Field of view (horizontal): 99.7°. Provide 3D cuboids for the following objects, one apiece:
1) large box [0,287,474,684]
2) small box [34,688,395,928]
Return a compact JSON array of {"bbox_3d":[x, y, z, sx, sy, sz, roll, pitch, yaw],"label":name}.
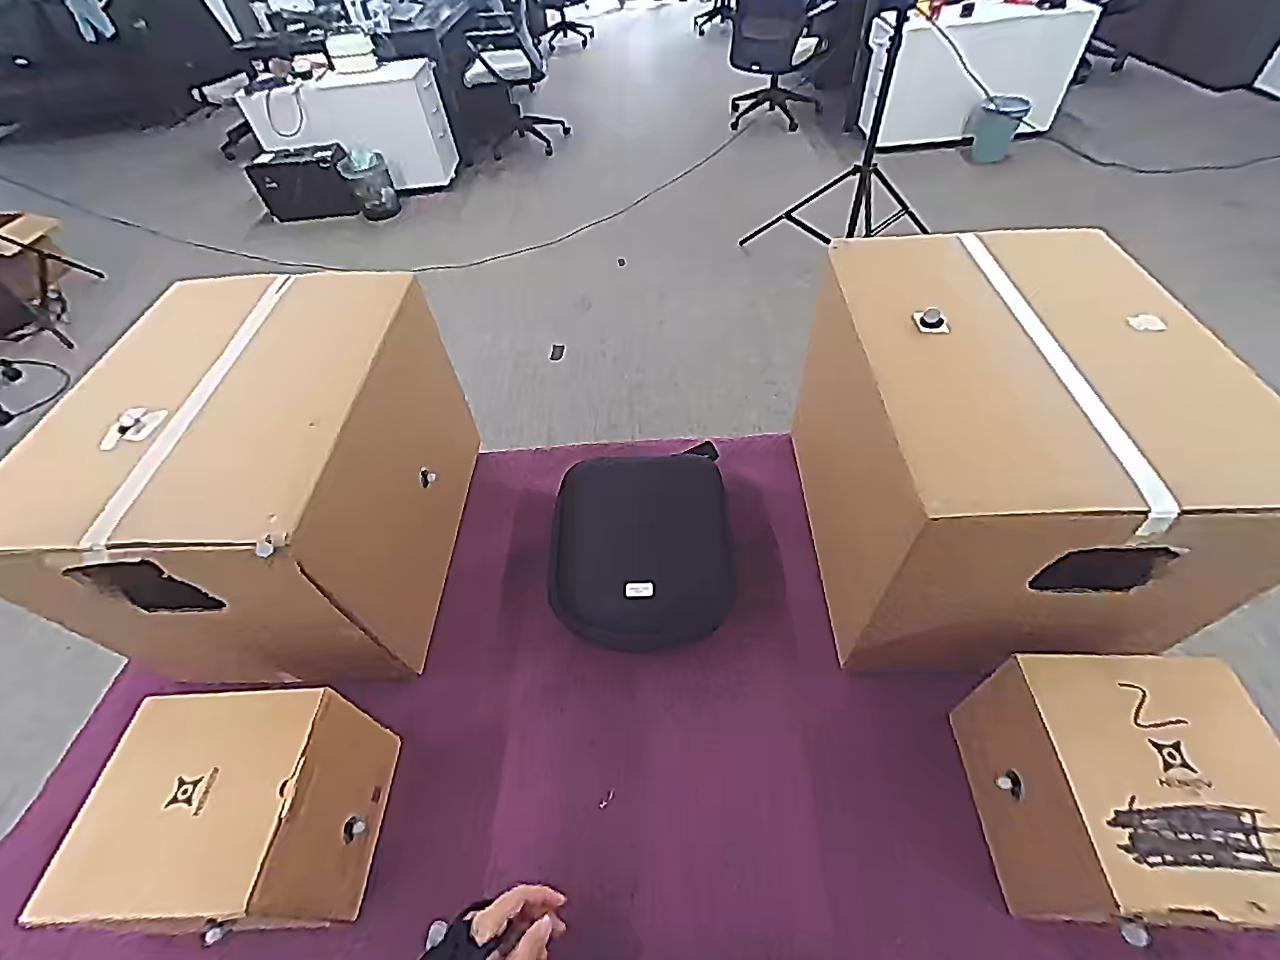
[{"bbox_3d":[-0.429,0.008,0.685,0.320,0.320,0.408,-3,53,2],"label":"large box"},{"bbox_3d":[-0.369,0.315,0.516,0.179,0.176,0.168,-4,49,1],"label":"small box"}]
